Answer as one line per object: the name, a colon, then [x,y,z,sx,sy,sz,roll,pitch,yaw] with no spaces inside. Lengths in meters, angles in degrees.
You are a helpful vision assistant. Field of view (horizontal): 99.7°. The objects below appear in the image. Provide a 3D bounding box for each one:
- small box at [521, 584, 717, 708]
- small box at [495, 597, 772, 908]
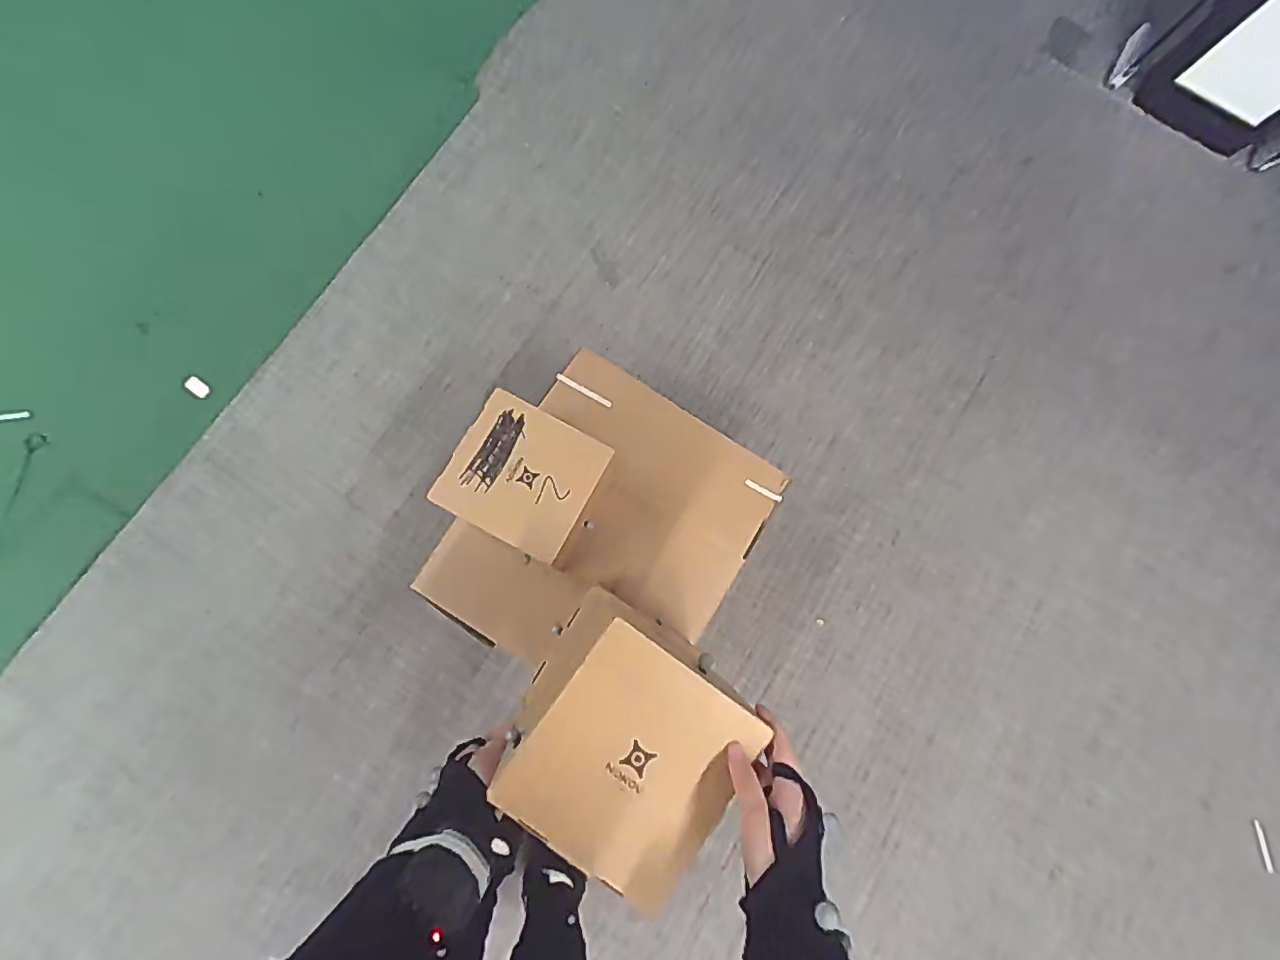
small box: [-0.029,0.247,0.709,0.179,0.176,0.168,33,79,1]
small box: [-0.010,0.232,0.518,0.168,0.176,0.179,36,84,0]
